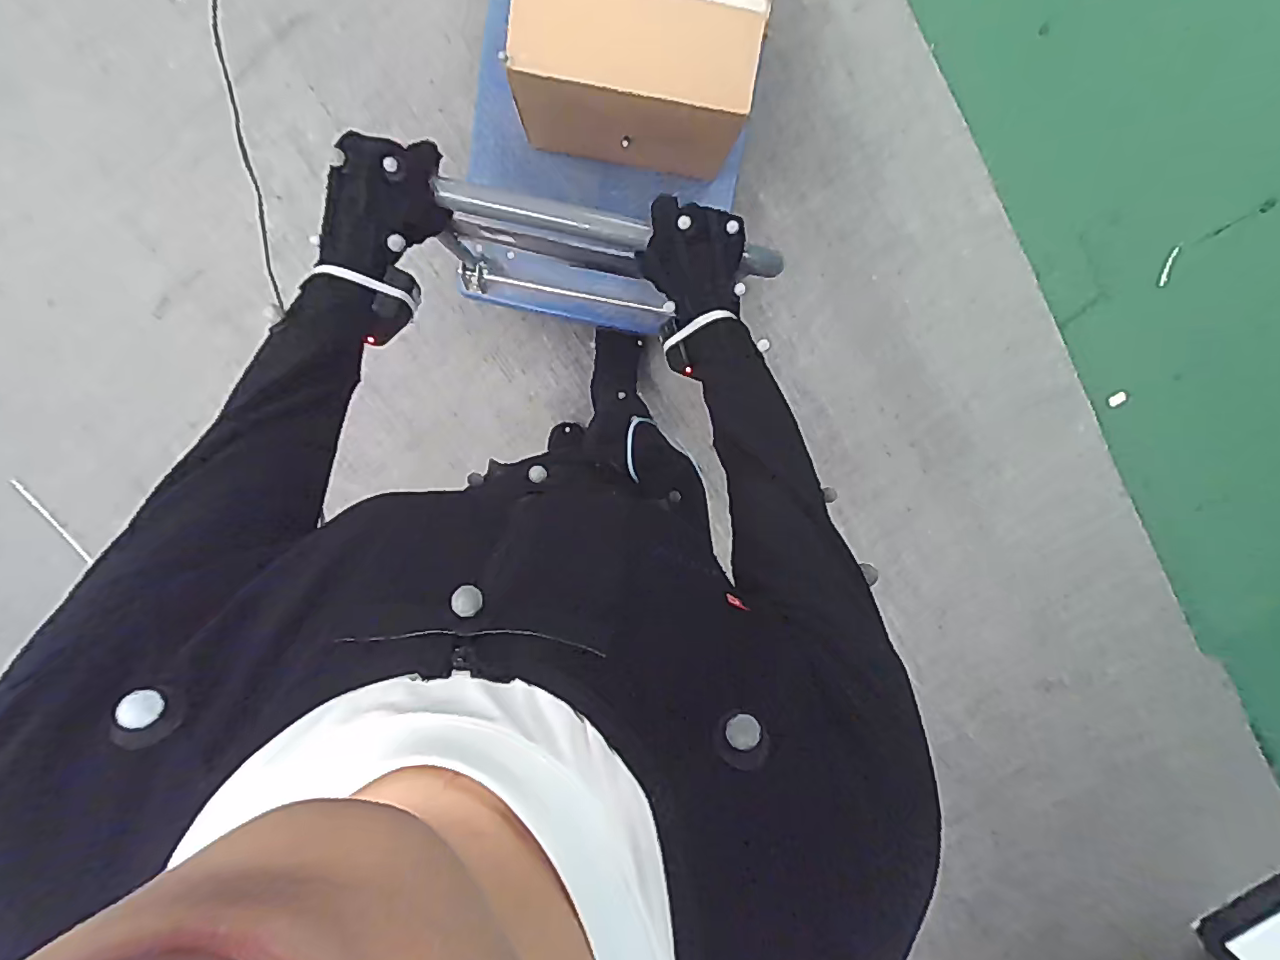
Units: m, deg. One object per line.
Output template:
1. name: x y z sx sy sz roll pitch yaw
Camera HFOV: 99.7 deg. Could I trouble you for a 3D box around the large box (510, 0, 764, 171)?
1. large box: -0.002 -0.818 1.006 0.408 0.320 0.320 7 100 -4
